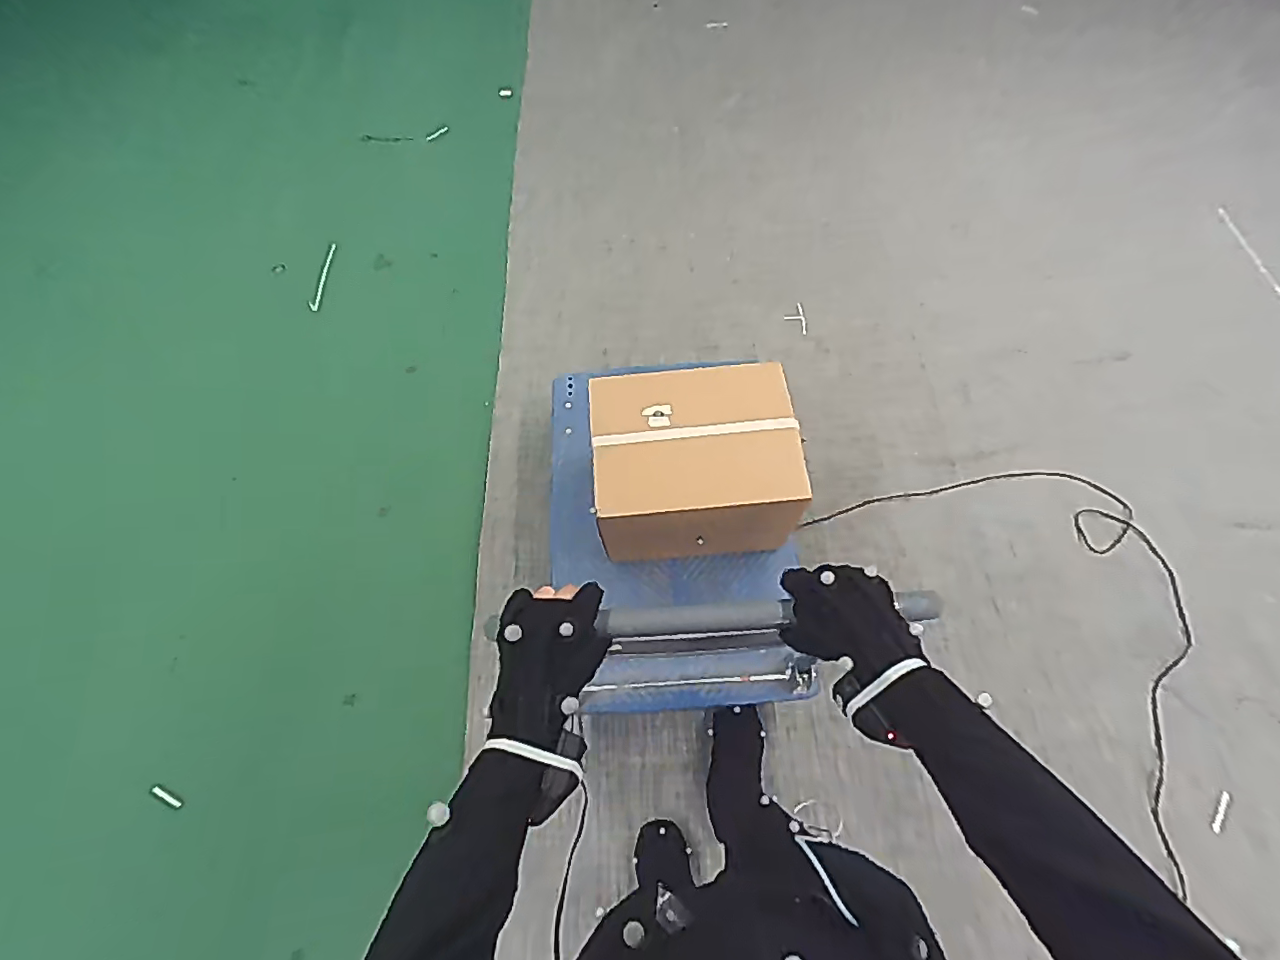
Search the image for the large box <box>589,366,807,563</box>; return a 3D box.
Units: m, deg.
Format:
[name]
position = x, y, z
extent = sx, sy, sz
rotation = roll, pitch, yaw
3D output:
[large box]
position = 0.114, -0.019, 1.209
extent = 0.408, 0.320, 0.320
rotation = -6, 65, 2
